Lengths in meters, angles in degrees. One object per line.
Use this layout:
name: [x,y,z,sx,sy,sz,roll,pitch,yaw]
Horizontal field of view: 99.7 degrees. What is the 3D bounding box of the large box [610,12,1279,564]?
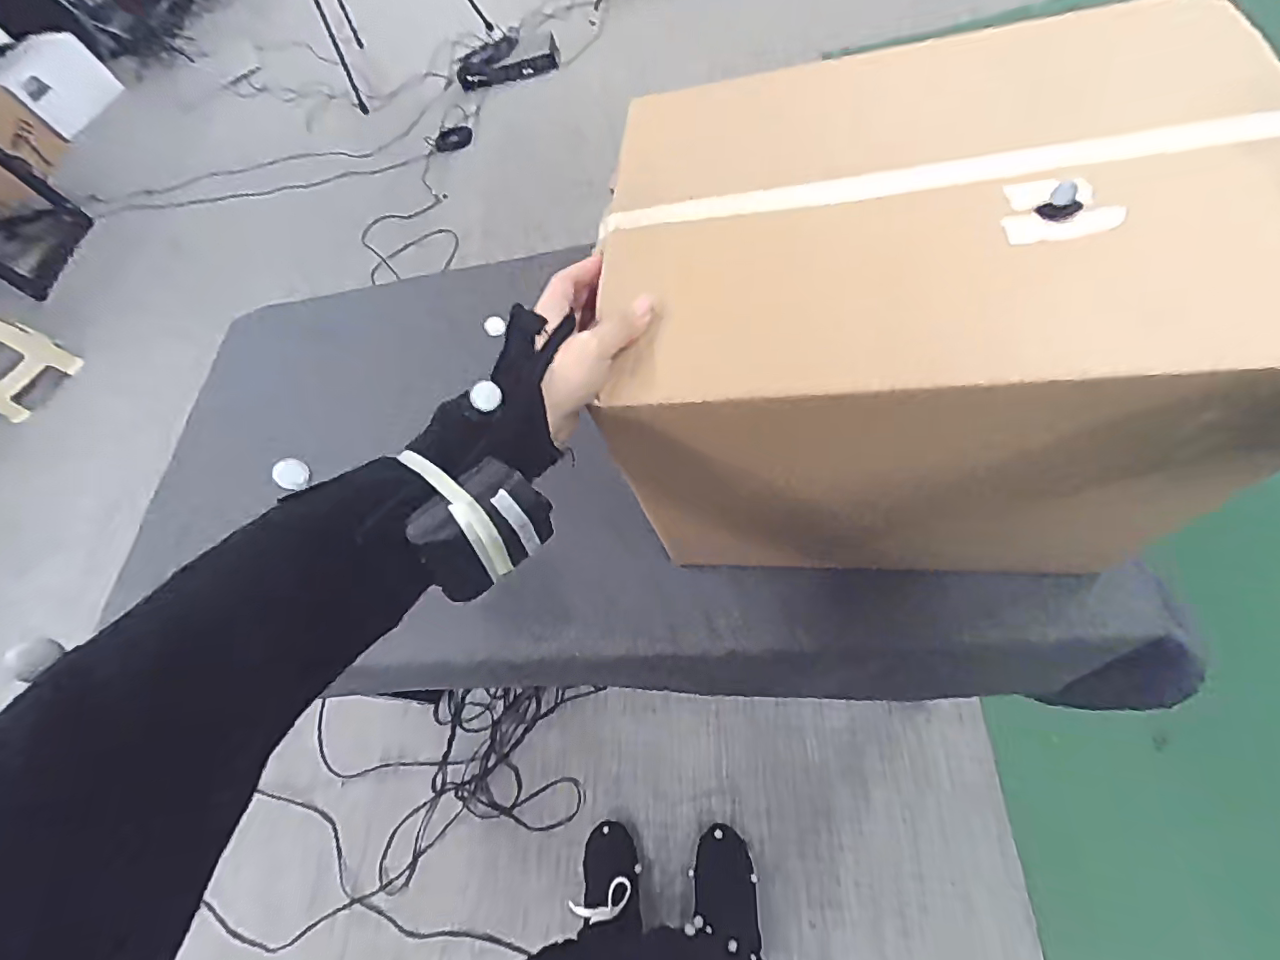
large box: [0.213,-0.118,0.481,0.408,0.320,0.320,-1,64,13]
